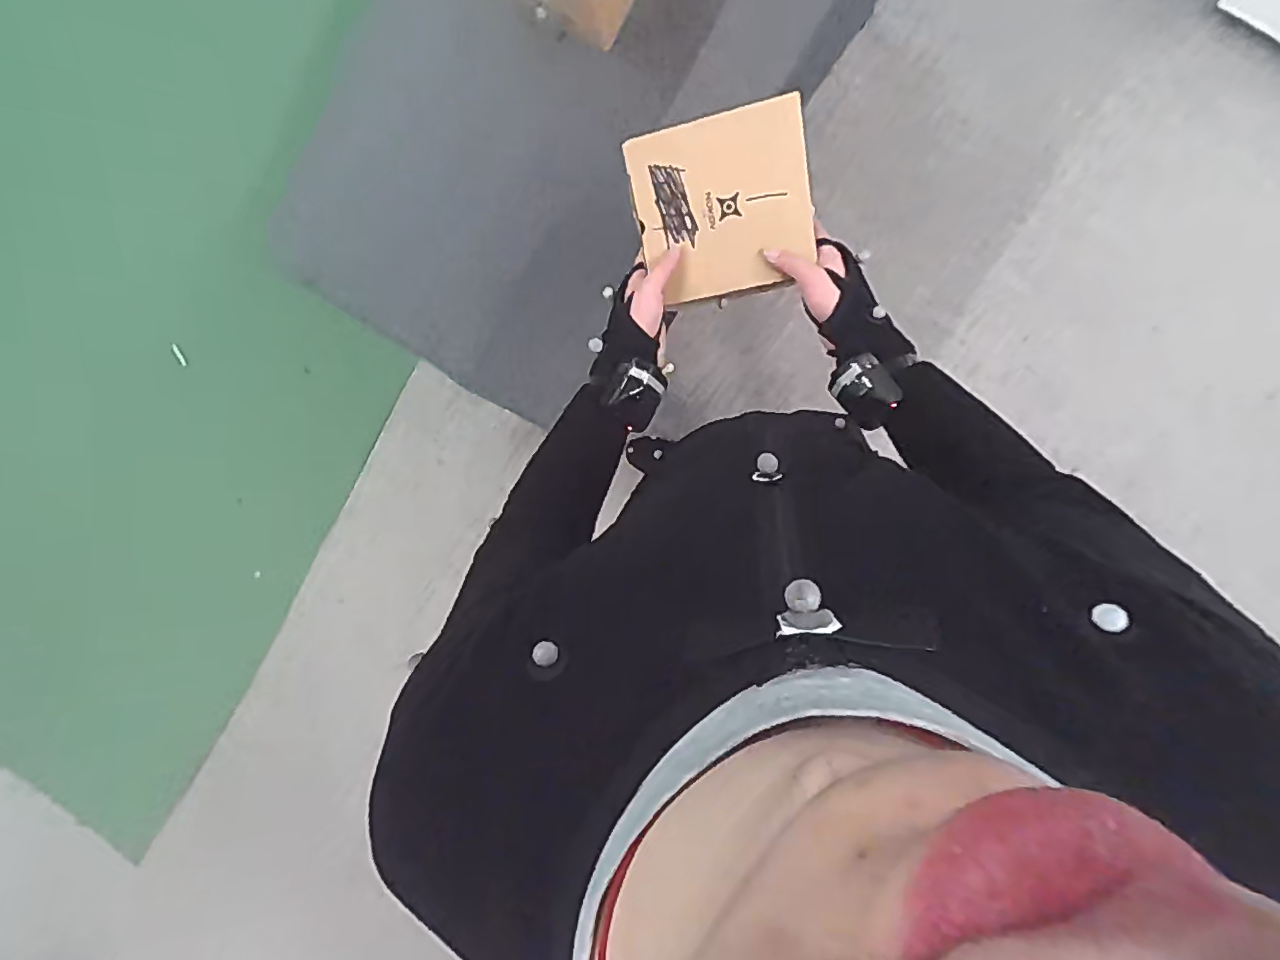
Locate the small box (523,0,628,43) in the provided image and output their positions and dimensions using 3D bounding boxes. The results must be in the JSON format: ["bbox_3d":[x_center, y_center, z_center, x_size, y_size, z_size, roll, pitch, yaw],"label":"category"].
[{"bbox_3d":[-0.083,-0.707,0.664,0.168,0.176,0.179,31,102,2],"label":"small box"}]

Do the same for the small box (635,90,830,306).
[{"bbox_3d":[0.105,-0.295,0.609,0.179,0.176,0.168,-8,106,11],"label":"small box"}]
